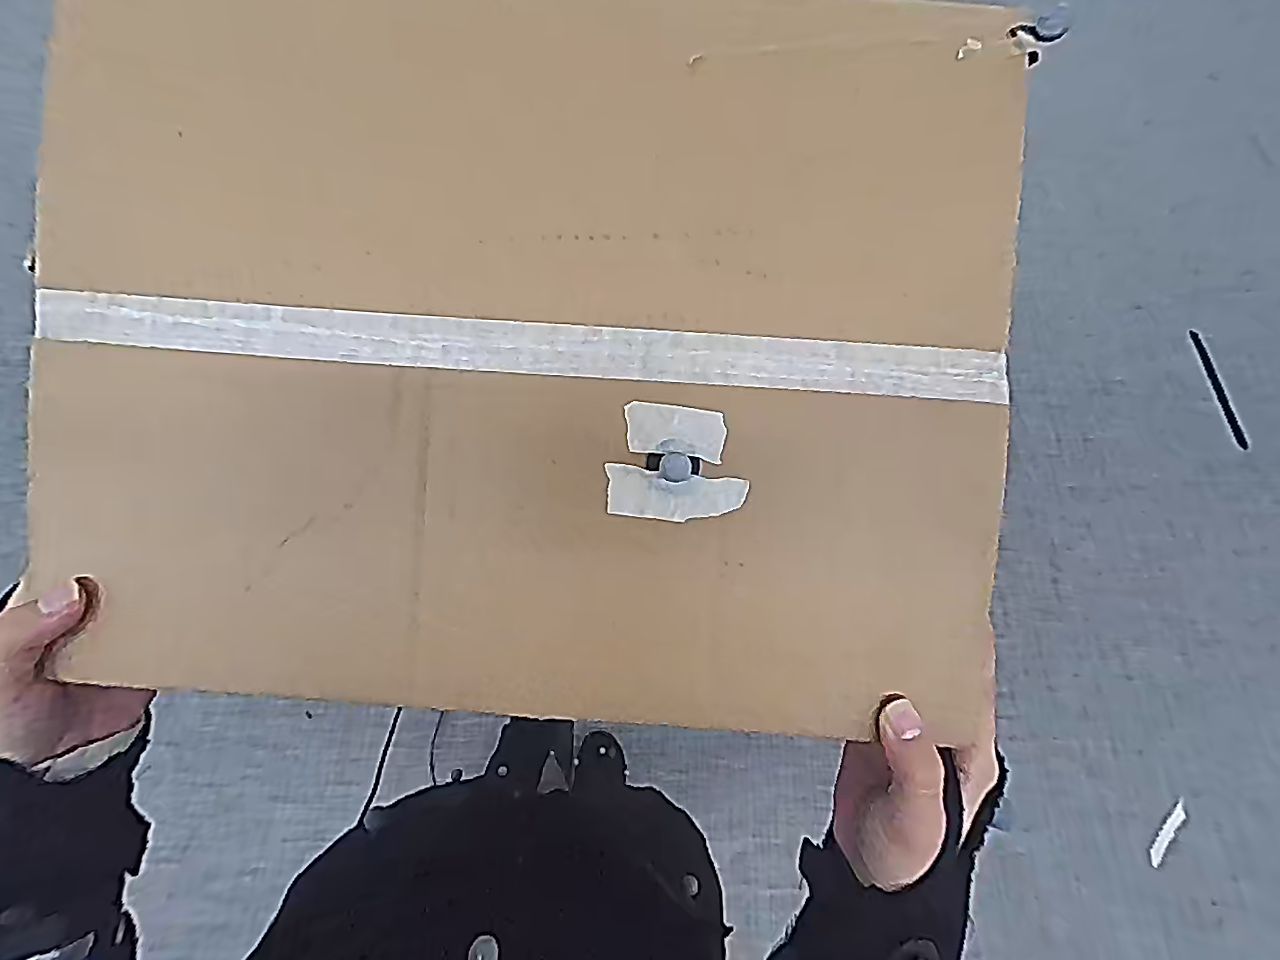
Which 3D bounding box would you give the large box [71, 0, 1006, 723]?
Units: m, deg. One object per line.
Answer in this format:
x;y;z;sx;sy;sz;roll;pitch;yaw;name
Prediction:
-0.046;-0.054;0.388;0.408;0.320;0.320;4;91;-1;large box
